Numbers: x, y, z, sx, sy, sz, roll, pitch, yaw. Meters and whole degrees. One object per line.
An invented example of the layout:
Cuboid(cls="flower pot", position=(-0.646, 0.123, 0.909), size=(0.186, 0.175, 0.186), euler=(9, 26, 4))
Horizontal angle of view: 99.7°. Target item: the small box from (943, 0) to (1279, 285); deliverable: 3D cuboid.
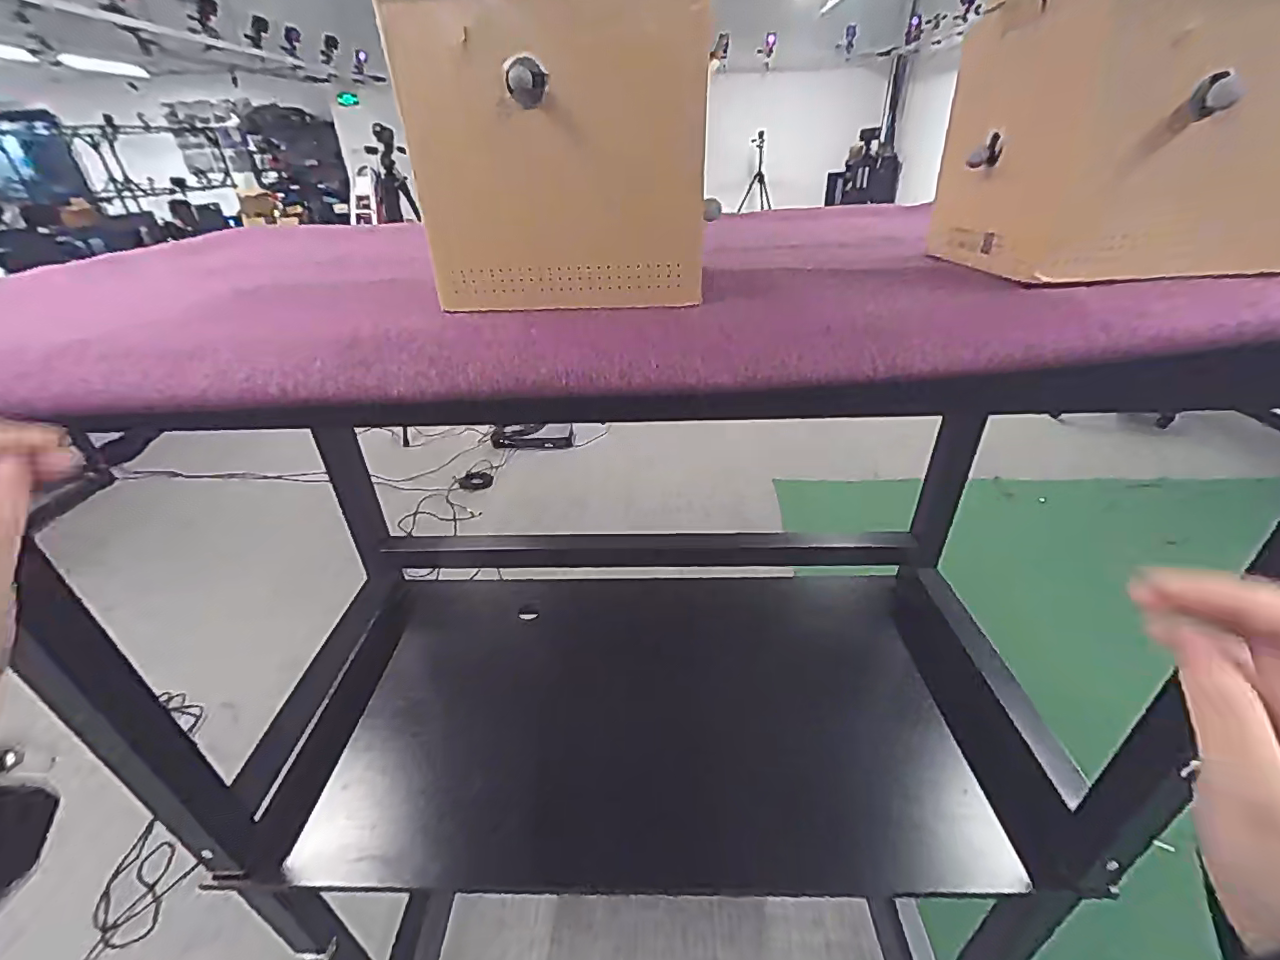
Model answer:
Cuboid(cls="small box", position=(0.337, -0.237, 0.376), size=(0.179, 0.176, 0.168), euler=(-2, 30, 4))

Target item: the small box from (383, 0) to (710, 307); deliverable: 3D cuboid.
Cuboid(cls="small box", position=(-0.043, -0.225, 0.384), size=(0.179, 0.176, 0.168), euler=(0, 33, 3))
